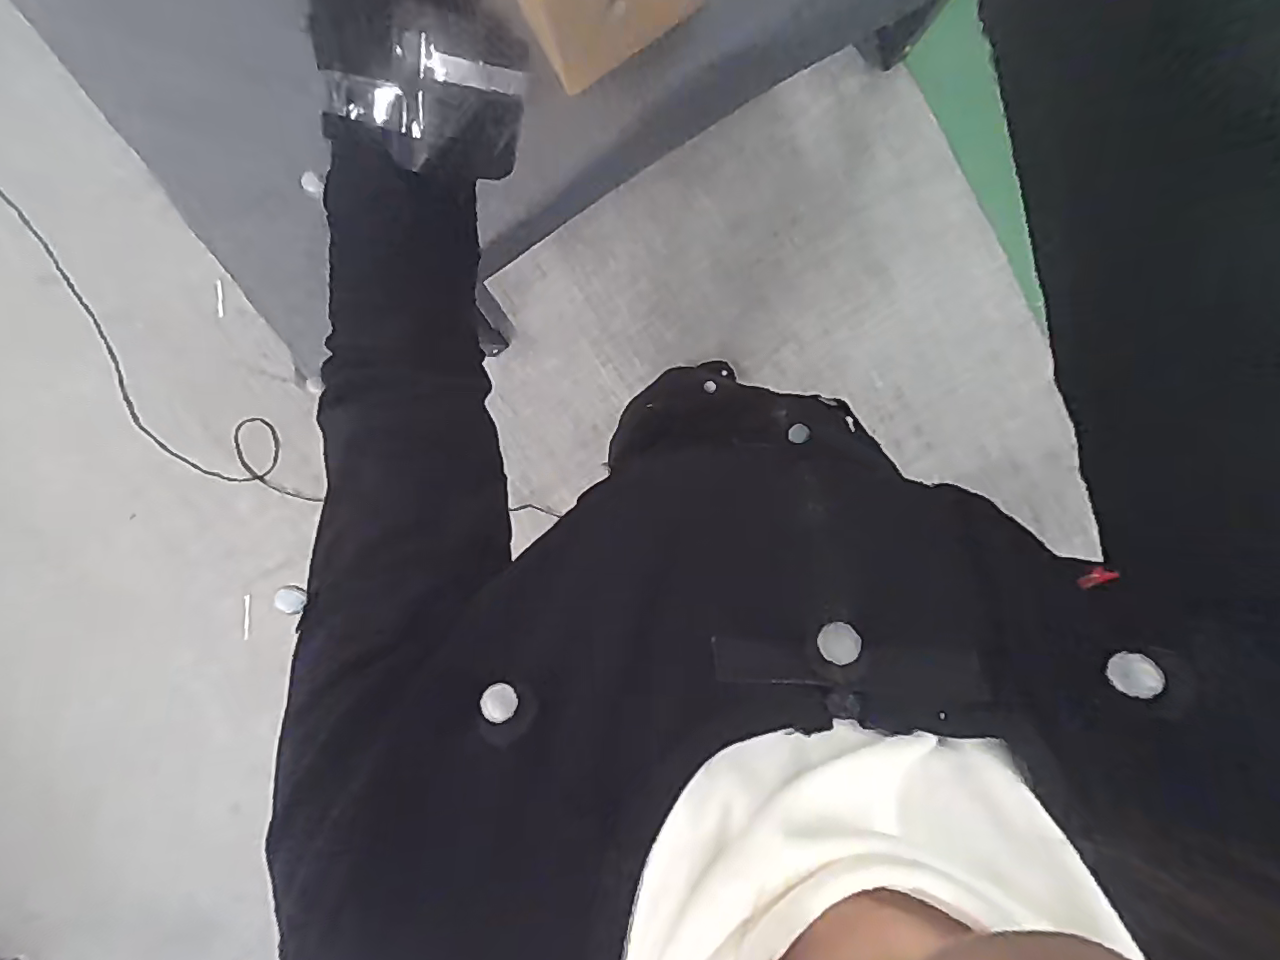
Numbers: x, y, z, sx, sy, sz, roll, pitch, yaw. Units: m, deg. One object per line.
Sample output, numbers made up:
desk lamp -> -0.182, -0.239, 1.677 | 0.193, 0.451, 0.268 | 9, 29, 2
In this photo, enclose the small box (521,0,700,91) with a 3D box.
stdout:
small box -> -0.046, -0.521, 0.506 | 0.179, 0.176, 0.168 | -30, 98, 10
